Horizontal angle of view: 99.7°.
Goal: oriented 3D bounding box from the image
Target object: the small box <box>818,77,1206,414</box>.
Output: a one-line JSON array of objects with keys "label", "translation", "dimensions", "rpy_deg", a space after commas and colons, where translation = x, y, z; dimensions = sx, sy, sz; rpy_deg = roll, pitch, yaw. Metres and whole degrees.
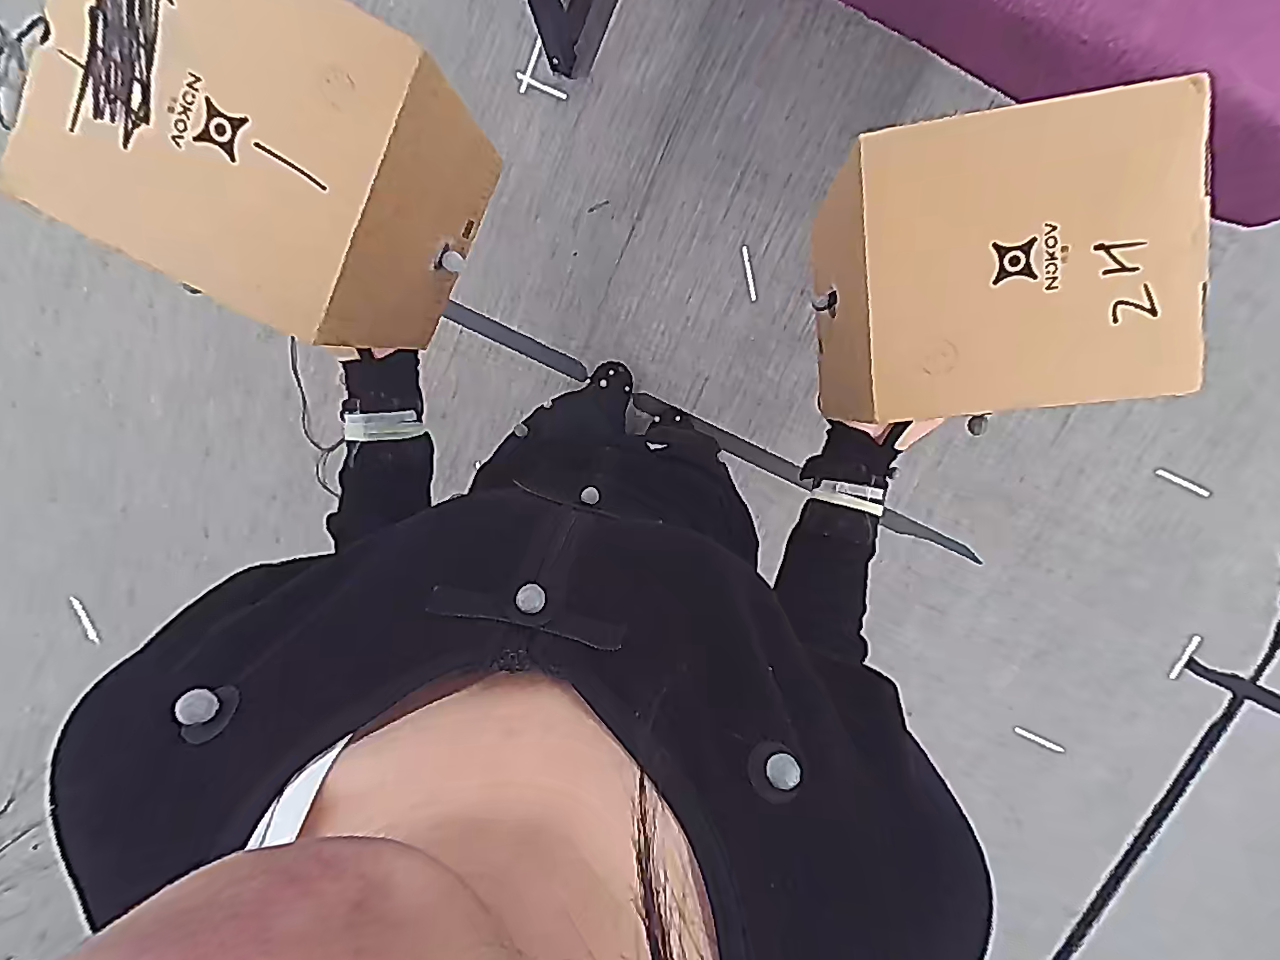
[{"label": "small box", "translation": [0.228, -0.135, 0.383], "dimensions": [0.179, 0.176, 0.168], "rpy_deg": [-5, 98, 8]}]

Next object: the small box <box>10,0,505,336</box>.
[{"label": "small box", "translation": [-0.214, -0.204, 0.353], "dimensions": [0.179, 0.176, 0.168], "rpy_deg": [27, 102, -7]}]
